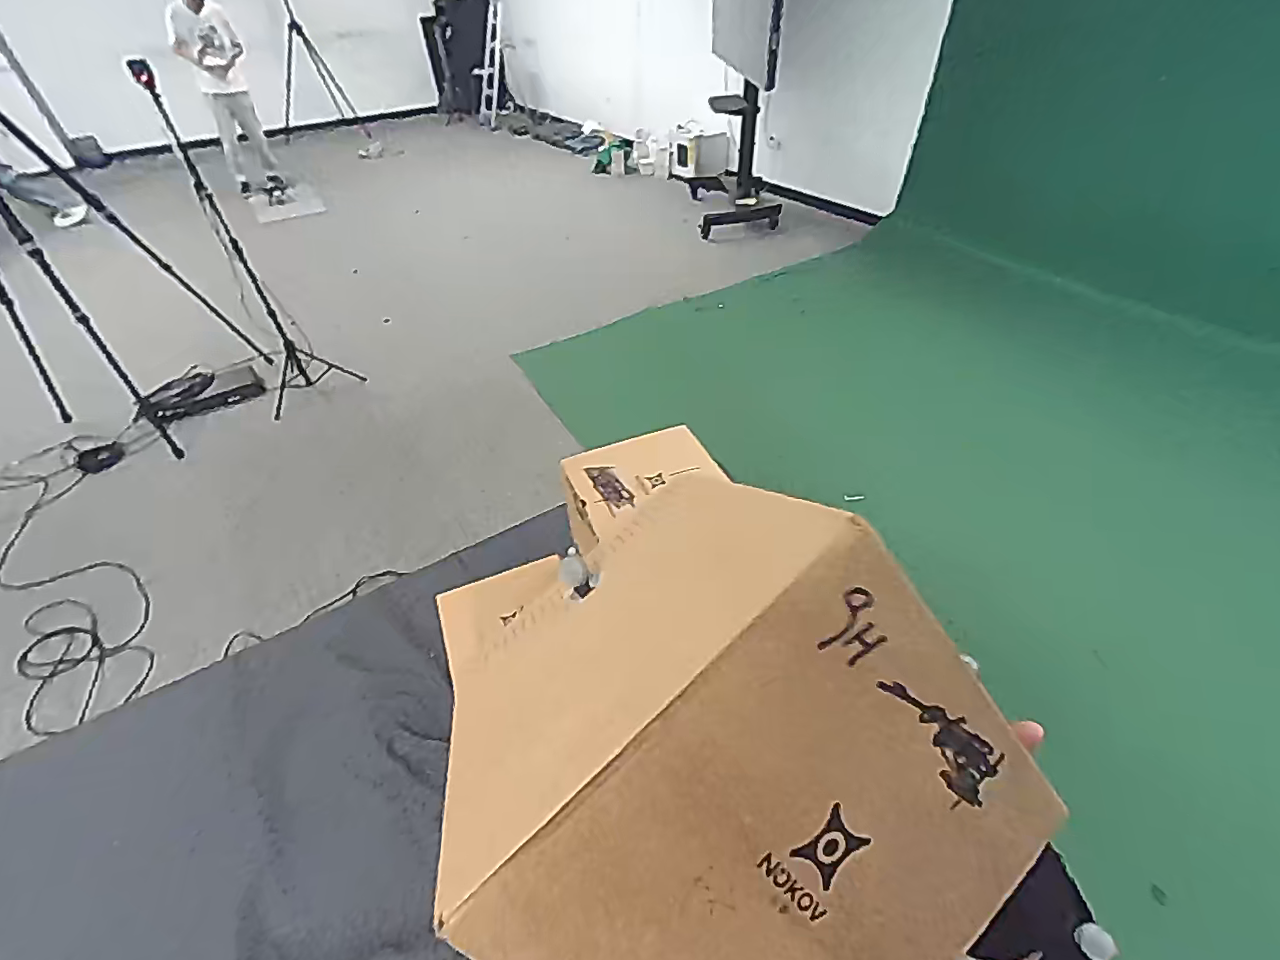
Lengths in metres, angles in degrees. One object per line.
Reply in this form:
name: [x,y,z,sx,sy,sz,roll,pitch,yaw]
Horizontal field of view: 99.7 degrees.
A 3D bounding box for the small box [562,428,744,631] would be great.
small box: [0.015,0.064,0.696,0.179,0.176,0.168,-17,46,-15]
